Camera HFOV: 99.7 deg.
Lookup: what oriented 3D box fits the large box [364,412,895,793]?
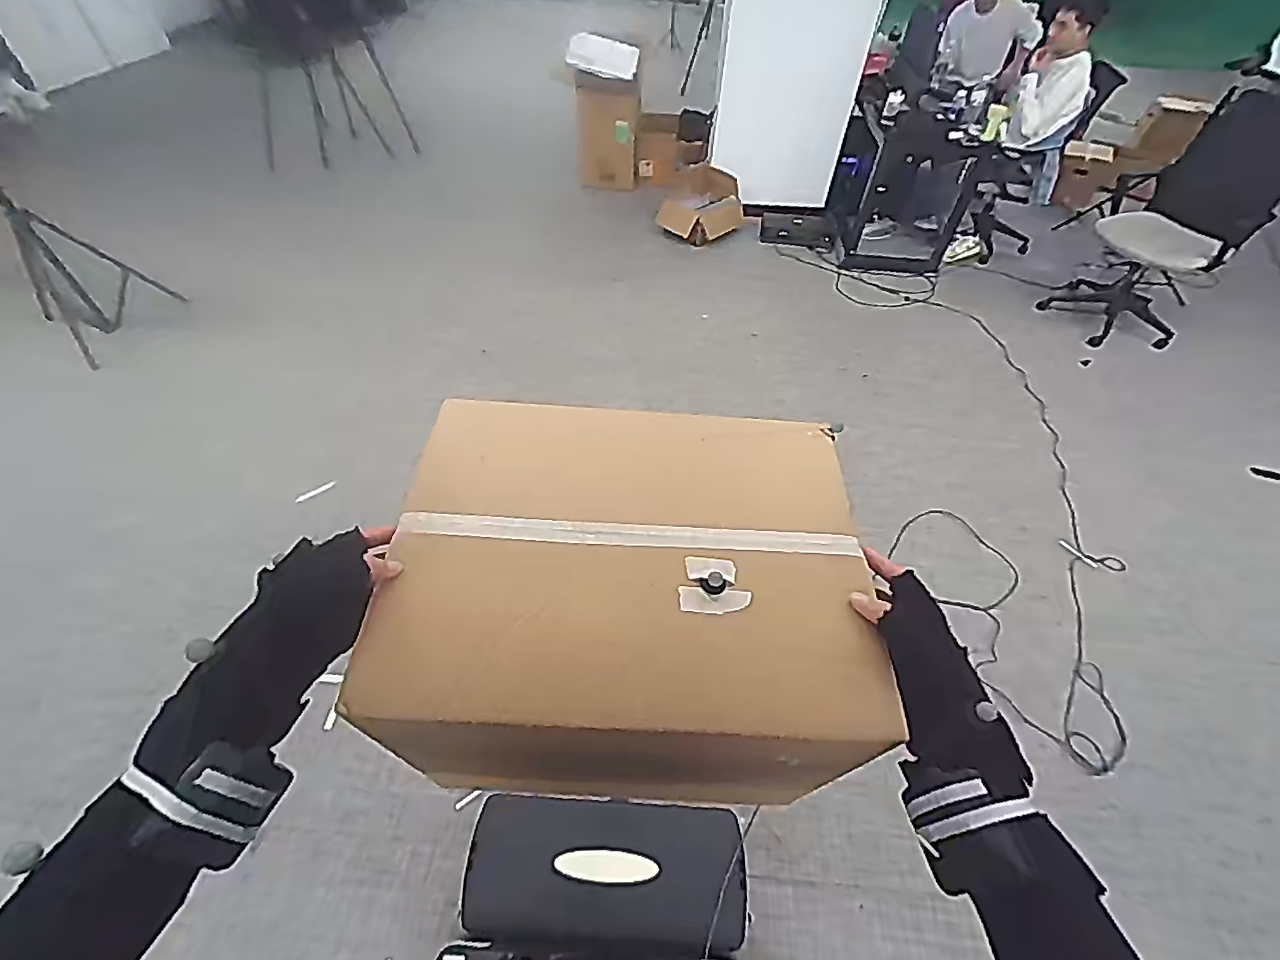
[{"bbox_3d":[-0.013,0.148,0.604,0.408,0.320,0.320,4,52,-2],"label":"large box"}]

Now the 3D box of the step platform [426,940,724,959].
[{"bbox_3d":[-0.131,1.138,1.094,0.684,0.204,0.286,2,49,2],"label":"step platform"}]
